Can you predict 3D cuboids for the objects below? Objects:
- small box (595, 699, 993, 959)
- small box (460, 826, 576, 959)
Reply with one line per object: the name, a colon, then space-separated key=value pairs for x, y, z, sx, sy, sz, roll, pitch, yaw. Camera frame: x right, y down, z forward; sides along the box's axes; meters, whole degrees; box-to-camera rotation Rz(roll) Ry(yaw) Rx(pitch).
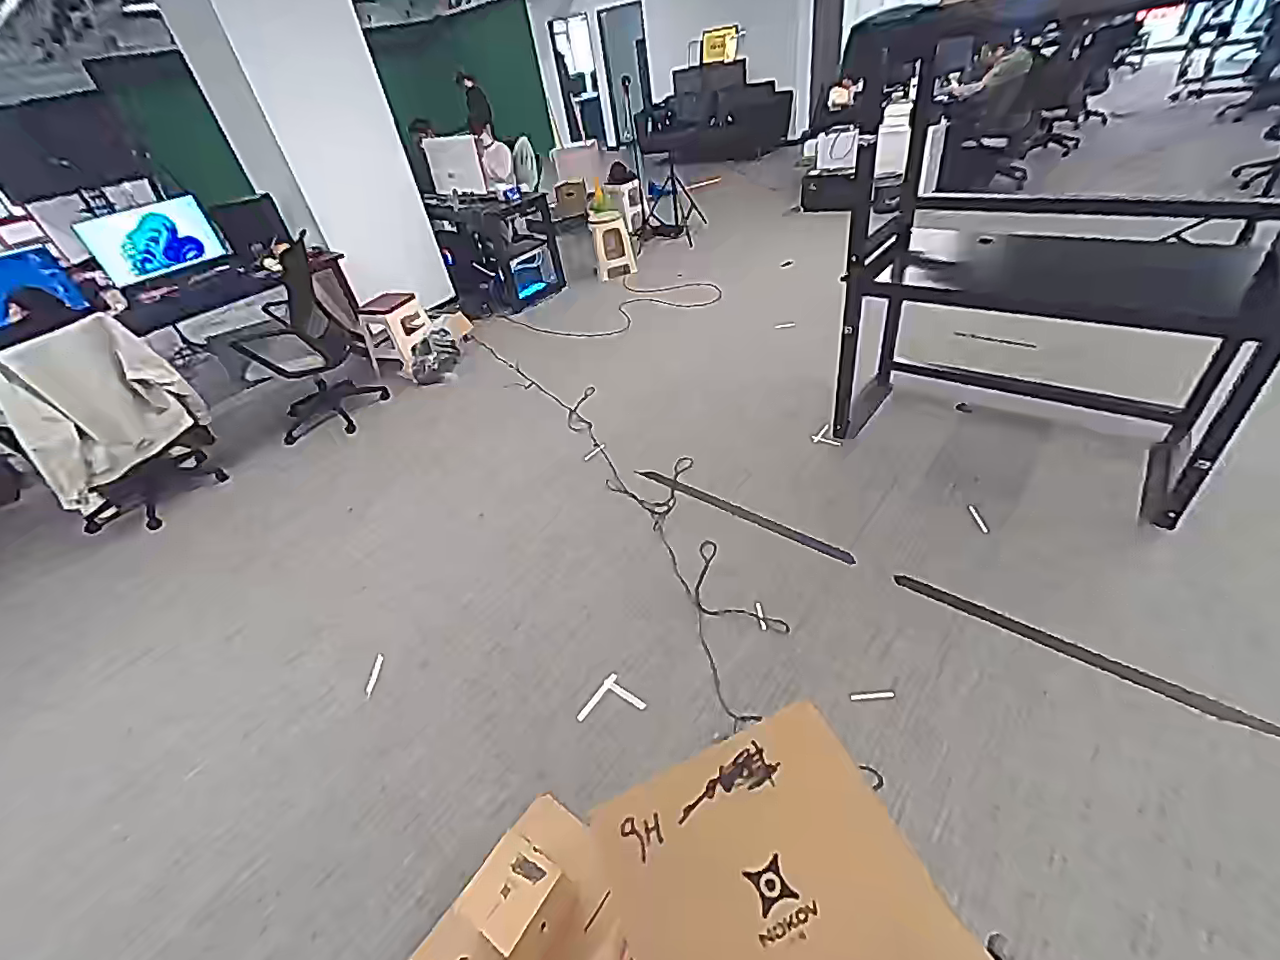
small box: x=0.088 y=0.282 z=0.348 sx=0.168 sy=0.176 sz=0.179 roll=-22 pitch=47 yaw=-11
small box: x=-0.259 y=0.925 z=1.198 sx=0.168 sy=0.176 sz=0.179 roll=18 pitch=47 yaw=31
